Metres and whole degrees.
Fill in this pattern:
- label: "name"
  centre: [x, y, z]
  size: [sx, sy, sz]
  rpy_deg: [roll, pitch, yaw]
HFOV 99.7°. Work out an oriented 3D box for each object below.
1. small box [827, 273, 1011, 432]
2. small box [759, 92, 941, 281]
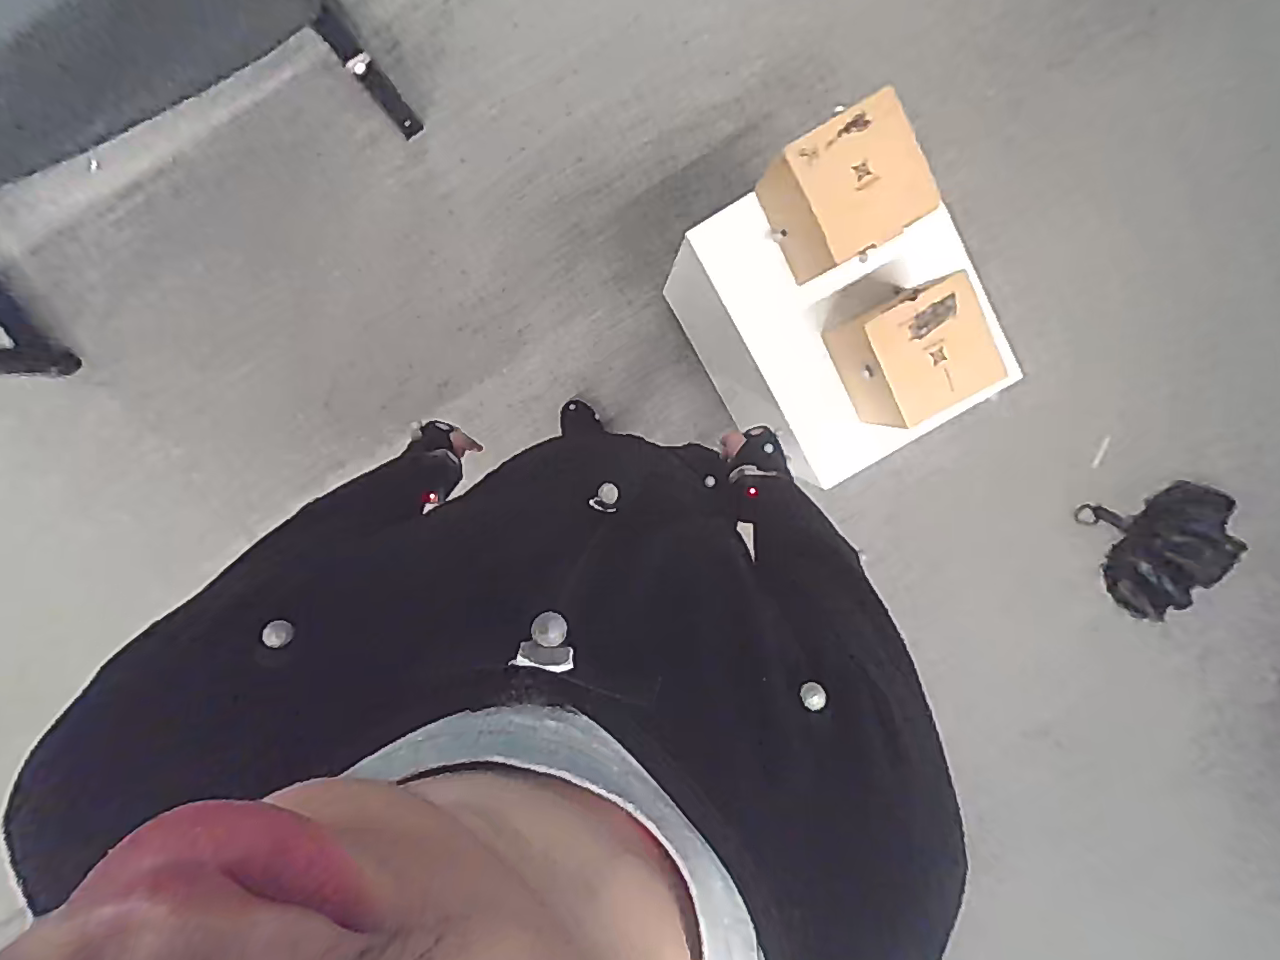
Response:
- label: "small box"
  centre: [0.423, -0.192, 0.850]
  size: [0.168, 0.176, 0.179]
  rpy_deg: [-27, 99, 4]
- label: "small box"
  centre: [0.302, -0.417, 0.810]
  size: [0.168, 0.176, 0.179]
  rpy_deg: [-29, 101, 3]
